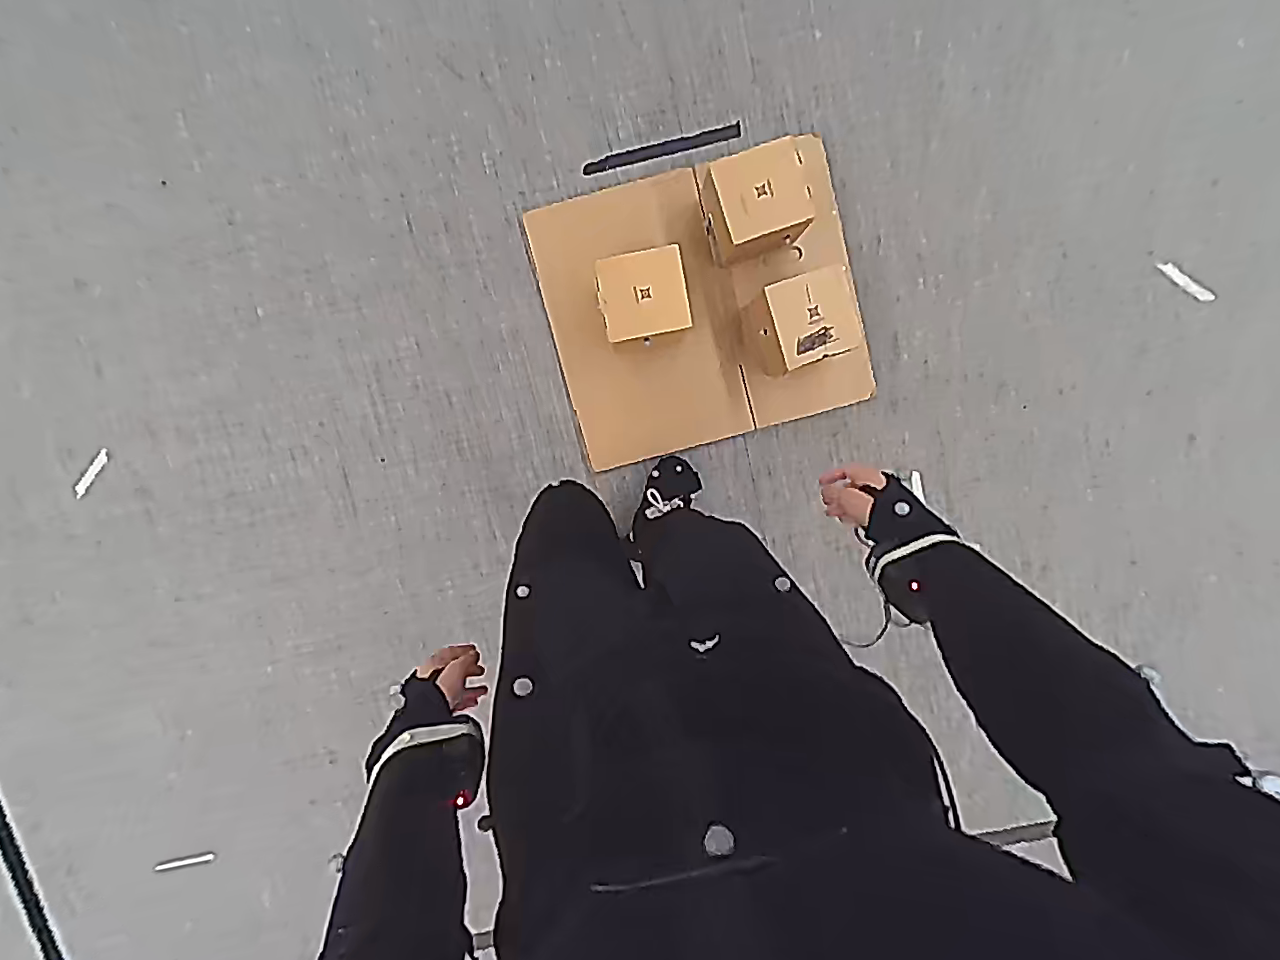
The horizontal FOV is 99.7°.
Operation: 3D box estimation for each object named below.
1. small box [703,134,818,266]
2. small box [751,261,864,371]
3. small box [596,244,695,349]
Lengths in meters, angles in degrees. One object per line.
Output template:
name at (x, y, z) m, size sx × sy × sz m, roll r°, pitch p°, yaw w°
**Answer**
small box at (0.245, -0.576, 1.135) m, size 0.179 × 0.176 × 0.168 m, roll -19°, pitch 95°, yaw 2°
small box at (0.352, -0.340, 1.161) m, size 0.168 × 0.176 × 0.179 m, roll -18°, pitch 96°, yaw 2°
small box at (0.010, -0.382, 1.153) m, size 0.179 × 0.176 × 0.168 m, roll -11°, pitch 97°, yaw 2°
